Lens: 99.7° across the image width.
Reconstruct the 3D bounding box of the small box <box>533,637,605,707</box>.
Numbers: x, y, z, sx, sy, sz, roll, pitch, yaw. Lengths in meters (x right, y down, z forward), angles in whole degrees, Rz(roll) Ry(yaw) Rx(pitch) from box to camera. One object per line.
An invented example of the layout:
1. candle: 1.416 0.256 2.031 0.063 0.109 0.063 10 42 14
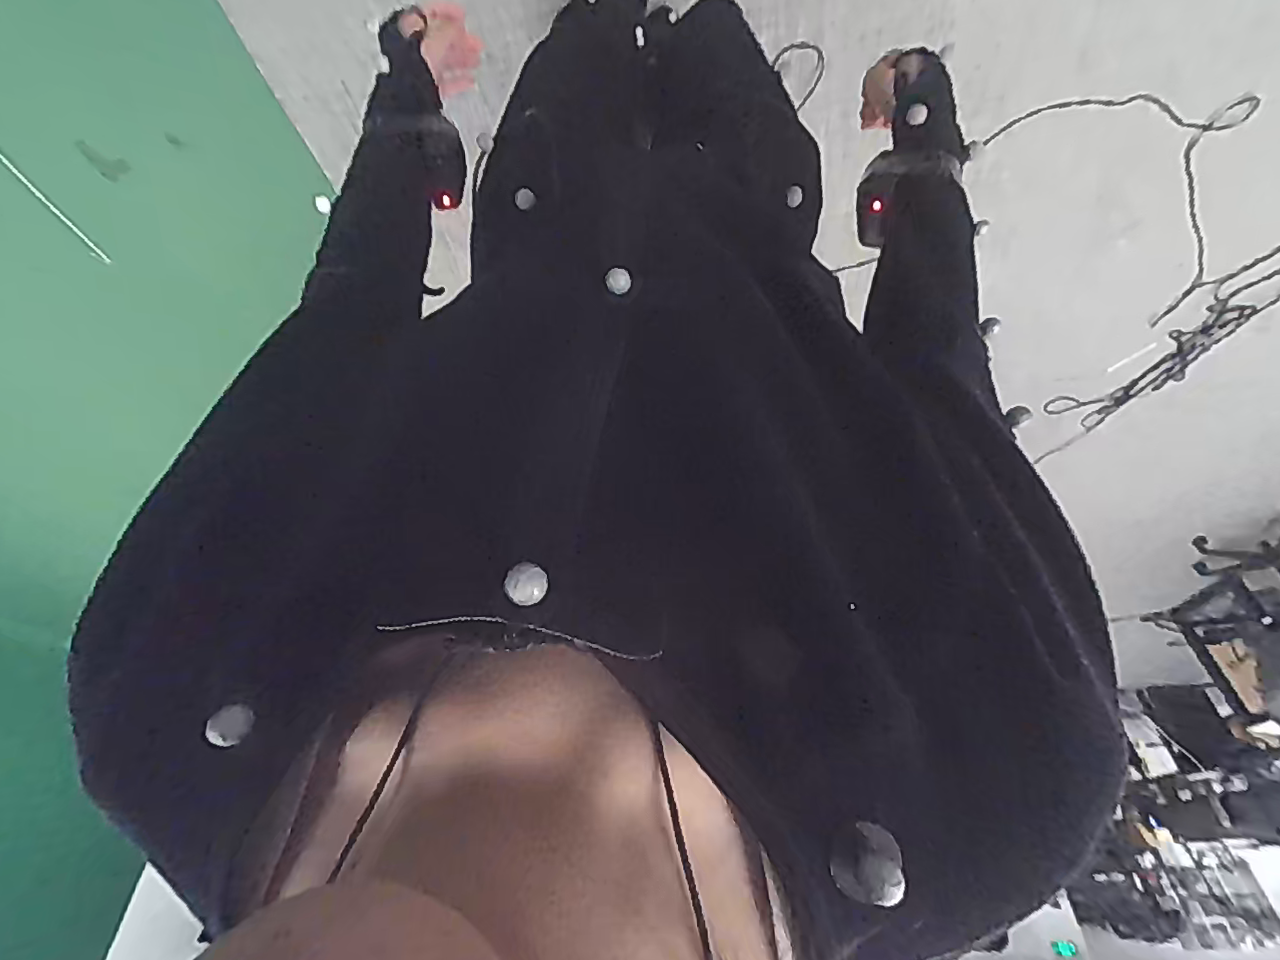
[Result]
1. small box: -0.207 0.576 1.608 0.179 0.176 0.168 -8 142 6
